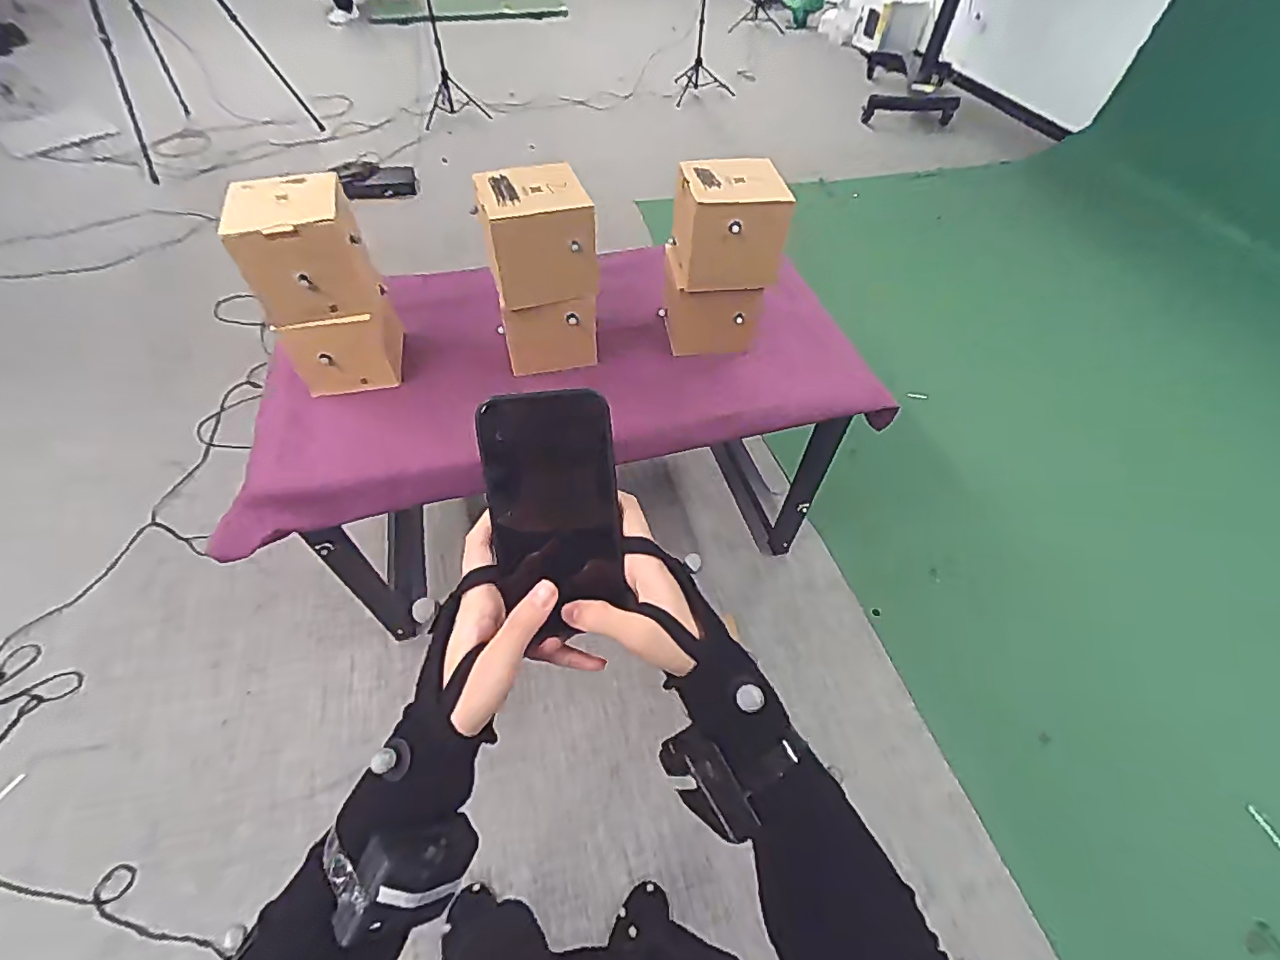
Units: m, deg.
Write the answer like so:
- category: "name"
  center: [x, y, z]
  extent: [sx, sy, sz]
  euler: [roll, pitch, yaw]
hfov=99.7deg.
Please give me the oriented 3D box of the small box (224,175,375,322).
- category: "small box"
  center: [-0.570, -0.390, 0.929]
  extent: [0.168, 0.176, 0.179]
  euler: [-14, 55, -12]

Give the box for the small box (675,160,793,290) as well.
- category: "small box"
  center: [0.163, -0.473, 1.012]
  extent: [0.179, 0.176, 0.168]
  euler: [-5, 53, -6]

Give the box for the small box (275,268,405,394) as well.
- category: "small box"
  center: [-0.571, -0.284, 1.055]
  extent: [0.168, 0.176, 0.179]
  euler: [-10, 54, -9]

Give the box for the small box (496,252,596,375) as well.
- category: "small box"
  center: [-0.187, -0.337, 1.103]
  extent: [0.179, 0.176, 0.168]
  euler: [-10, 54, -9]

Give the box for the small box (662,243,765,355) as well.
- category: "small box"
  center: [0.147, -0.384, 1.150]
  extent: [0.179, 0.176, 0.168]
  euler: [-5, 53, -5]
